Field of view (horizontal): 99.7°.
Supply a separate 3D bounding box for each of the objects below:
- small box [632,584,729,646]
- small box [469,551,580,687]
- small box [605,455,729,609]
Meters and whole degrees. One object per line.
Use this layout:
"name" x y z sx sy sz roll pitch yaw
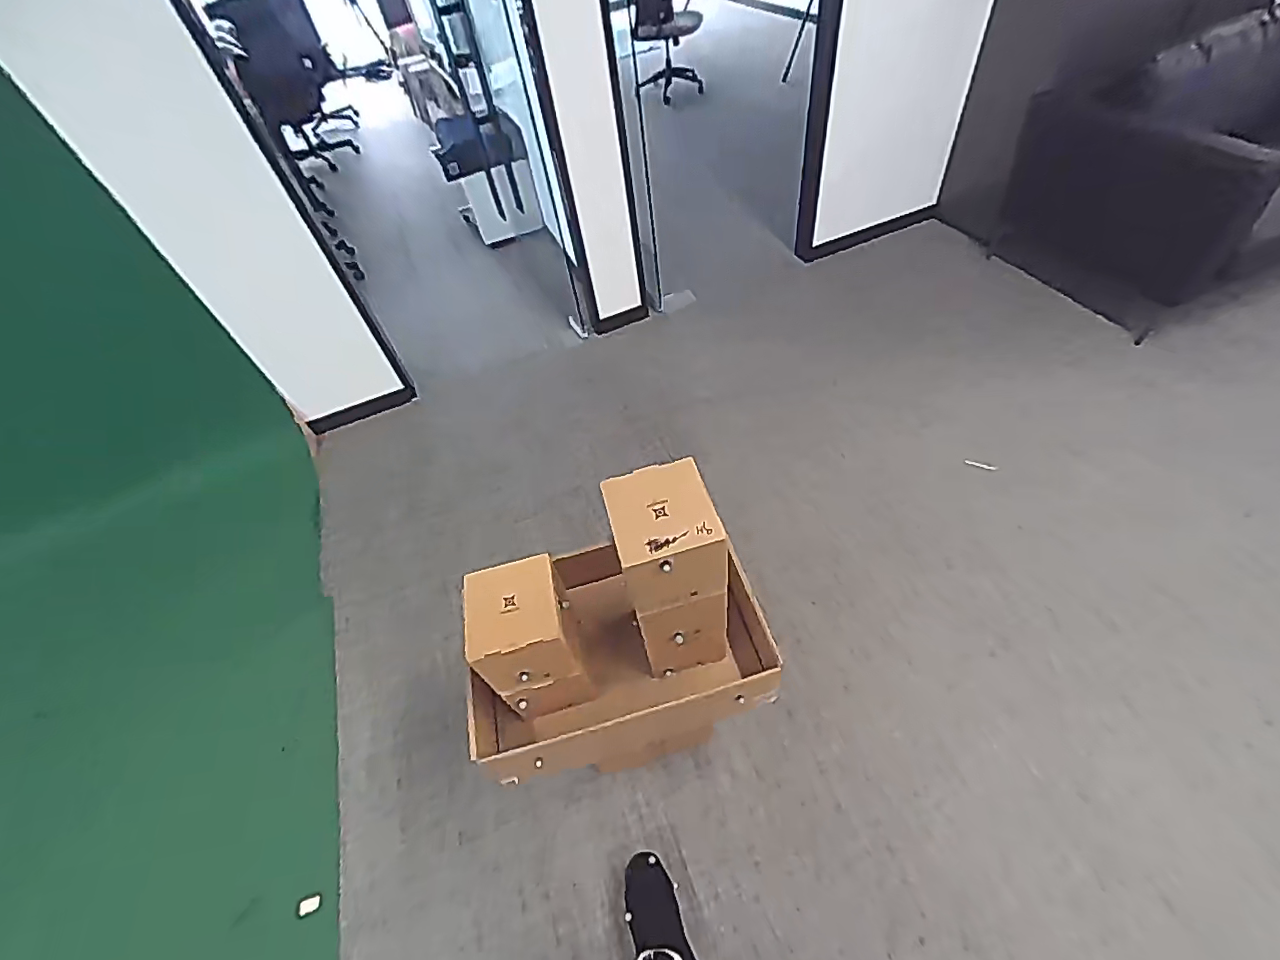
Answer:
"small box" 0.065 0.194 1.047 0.168 0.176 0.179 -15 51 -3
"small box" -0.219 0.268 1.034 0.168 0.176 0.179 -14 51 -3
"small box" 0.047 0.091 0.921 0.168 0.176 0.179 -16 51 -2
